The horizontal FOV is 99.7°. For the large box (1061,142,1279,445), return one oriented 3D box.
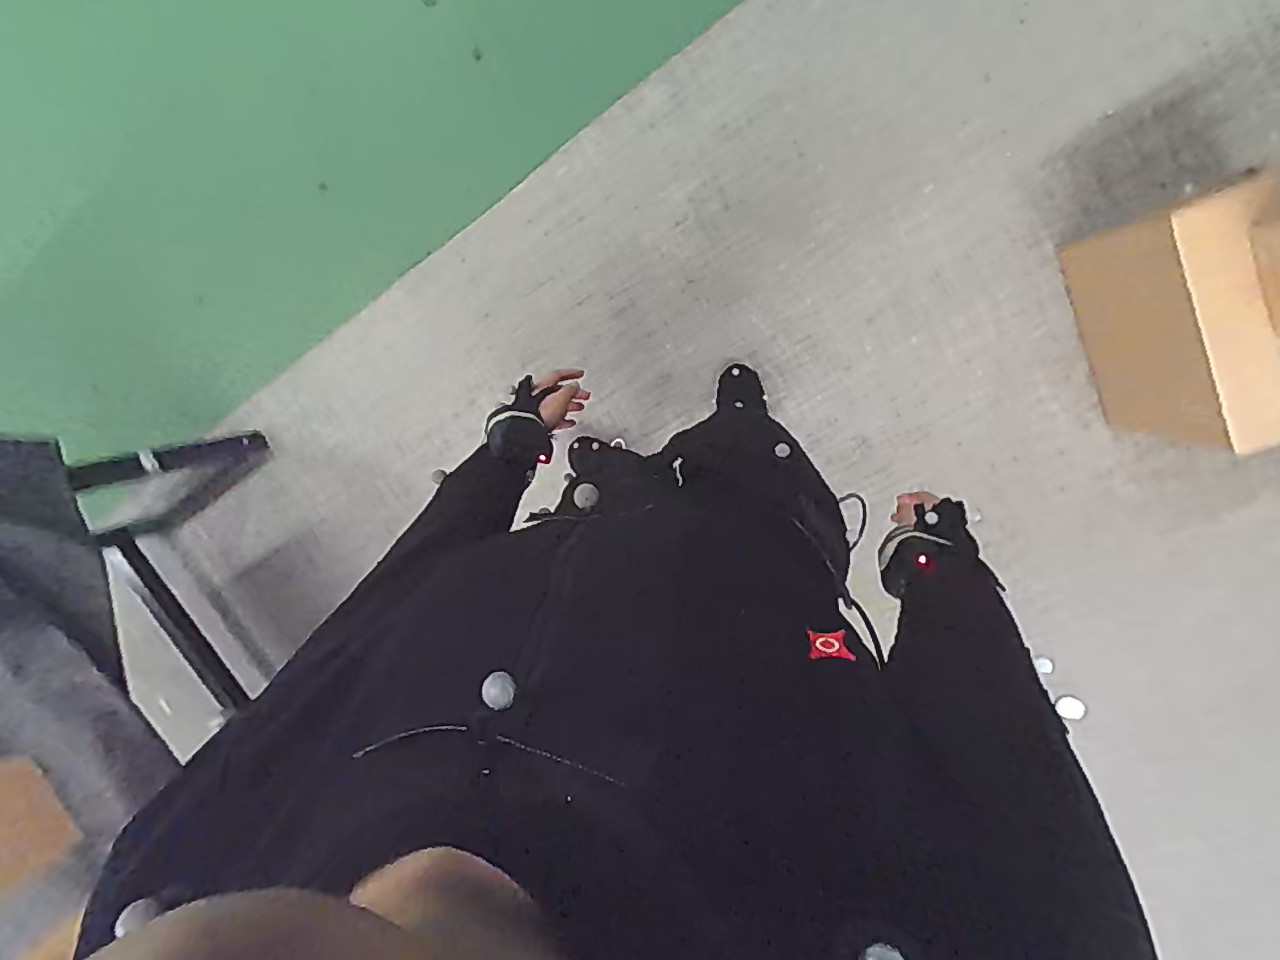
[{"bbox_3d":[1.033,-0.325,0.934,0.320,0.320,0.408,-23,100,16],"label":"large box"}]

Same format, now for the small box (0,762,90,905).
[{"bbox_3d":[-1.078,0.588,0.880,0.168,0.176,0.179,-19,100,16],"label":"small box"}]
